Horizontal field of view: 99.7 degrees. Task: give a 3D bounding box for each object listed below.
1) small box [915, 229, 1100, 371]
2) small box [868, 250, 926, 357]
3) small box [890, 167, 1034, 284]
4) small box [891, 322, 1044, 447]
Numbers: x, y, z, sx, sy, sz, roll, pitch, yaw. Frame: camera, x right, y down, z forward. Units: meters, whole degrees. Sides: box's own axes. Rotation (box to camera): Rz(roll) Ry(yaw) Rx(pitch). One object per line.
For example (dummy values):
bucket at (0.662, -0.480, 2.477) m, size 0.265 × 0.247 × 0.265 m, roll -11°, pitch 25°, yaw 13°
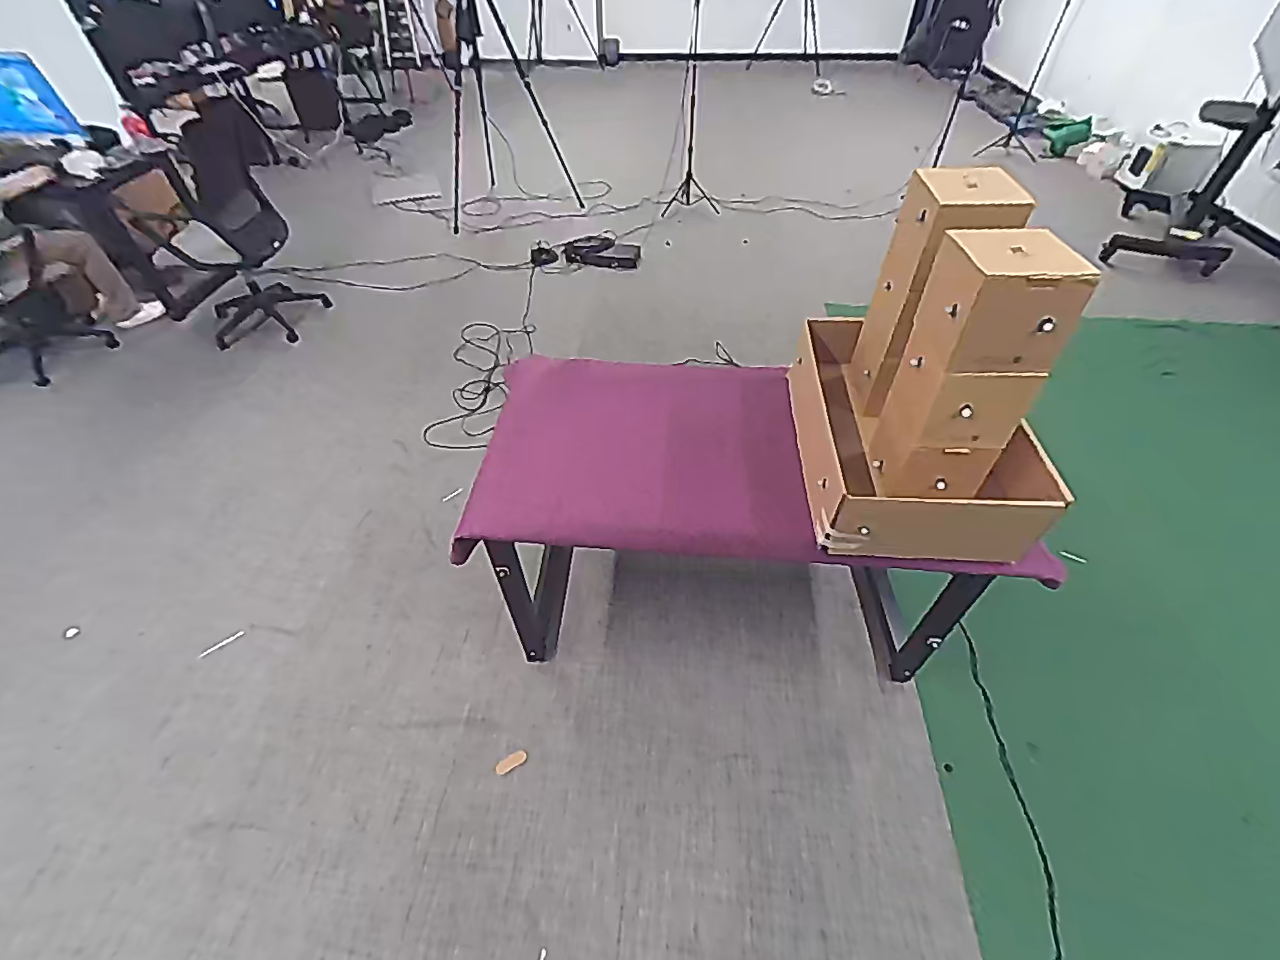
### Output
small box at (0.581, -0.292, 0.885) m, size 0.168 × 0.176 × 0.179 m, roll 2°, pitch 45°, yaw 4°
small box at (0.619, -0.386, 1.187) m, size 0.168 × 0.176 × 0.179 m, roll 1°, pitch 49°, yaw 4°
small box at (0.615, -0.493, 1.061) m, size 0.168 × 0.176 × 0.179 m, roll 2°, pitch 48°, yaw 4°
small box at (0.588, -0.175, 0.999) m, size 0.168 × 0.176 × 0.179 m, roll 1°, pitch 45°, yaw 5°
